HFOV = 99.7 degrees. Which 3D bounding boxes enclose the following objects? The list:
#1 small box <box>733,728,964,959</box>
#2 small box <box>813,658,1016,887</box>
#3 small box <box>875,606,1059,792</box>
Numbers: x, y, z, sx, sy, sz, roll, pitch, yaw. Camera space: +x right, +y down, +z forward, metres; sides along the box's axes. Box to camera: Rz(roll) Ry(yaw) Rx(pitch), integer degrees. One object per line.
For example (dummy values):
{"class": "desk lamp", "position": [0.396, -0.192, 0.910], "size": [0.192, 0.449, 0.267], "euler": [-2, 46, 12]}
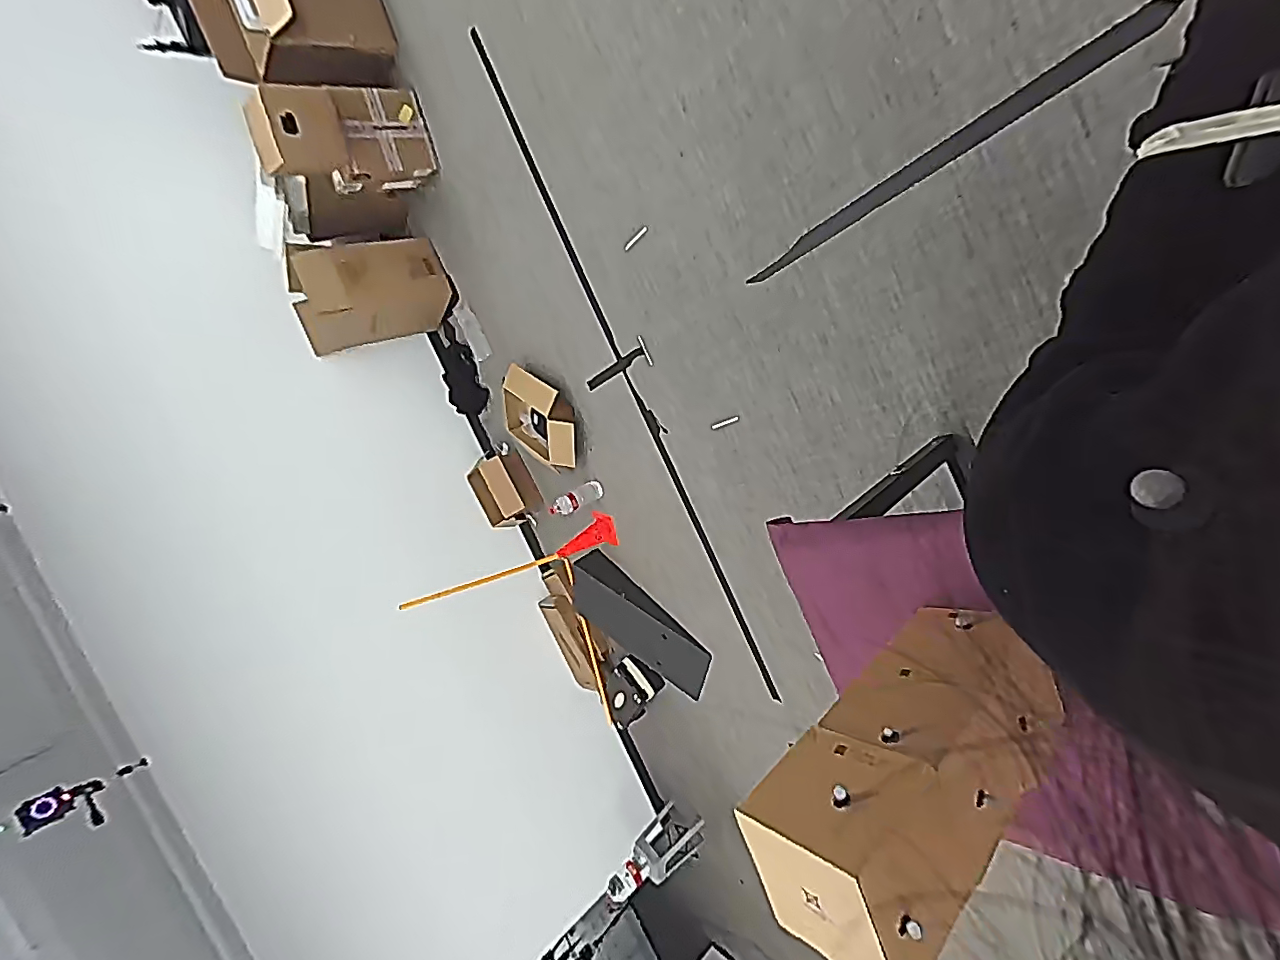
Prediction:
{"class": "small box", "position": [0.246, 0.429, 0.636], "size": [0.168, 0.176, 0.179], "euler": [-9, 105, 55]}
{"class": "small box", "position": [0.371, 0.373, 0.725], "size": [0.168, 0.176, 0.179], "euler": [-9, 106, 55]}
{"class": "small box", "position": [0.494, 0.315, 0.816], "size": [0.168, 0.176, 0.179], "euler": [-13, 102, 55]}
